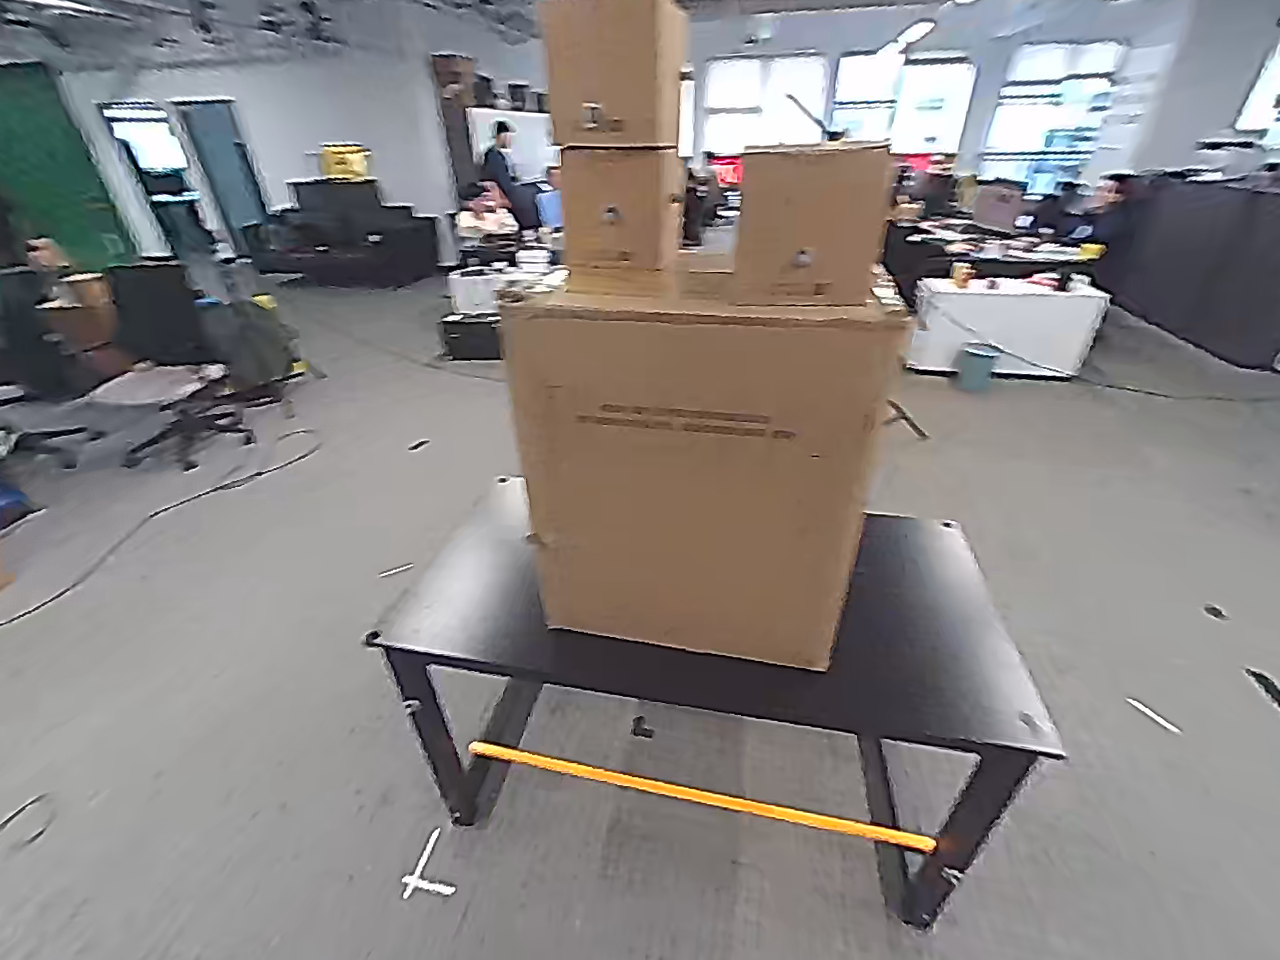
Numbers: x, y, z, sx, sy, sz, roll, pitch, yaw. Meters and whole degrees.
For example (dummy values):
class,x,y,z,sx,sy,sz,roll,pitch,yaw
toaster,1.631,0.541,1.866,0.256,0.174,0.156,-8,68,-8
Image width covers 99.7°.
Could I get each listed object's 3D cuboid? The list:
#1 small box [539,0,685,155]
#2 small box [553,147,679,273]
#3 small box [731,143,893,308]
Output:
class,x,y,z,sx,sy,sz,roll,pitch,yaw
small box,-0.032,-0.574,0.784,0.168,0.176,0.179,6,33,12
small box,-0.030,-0.444,0.885,0.168,0.176,0.179,7,33,10
small box,0.204,-0.329,0.694,0.168,0.176,0.179,2,34,9
